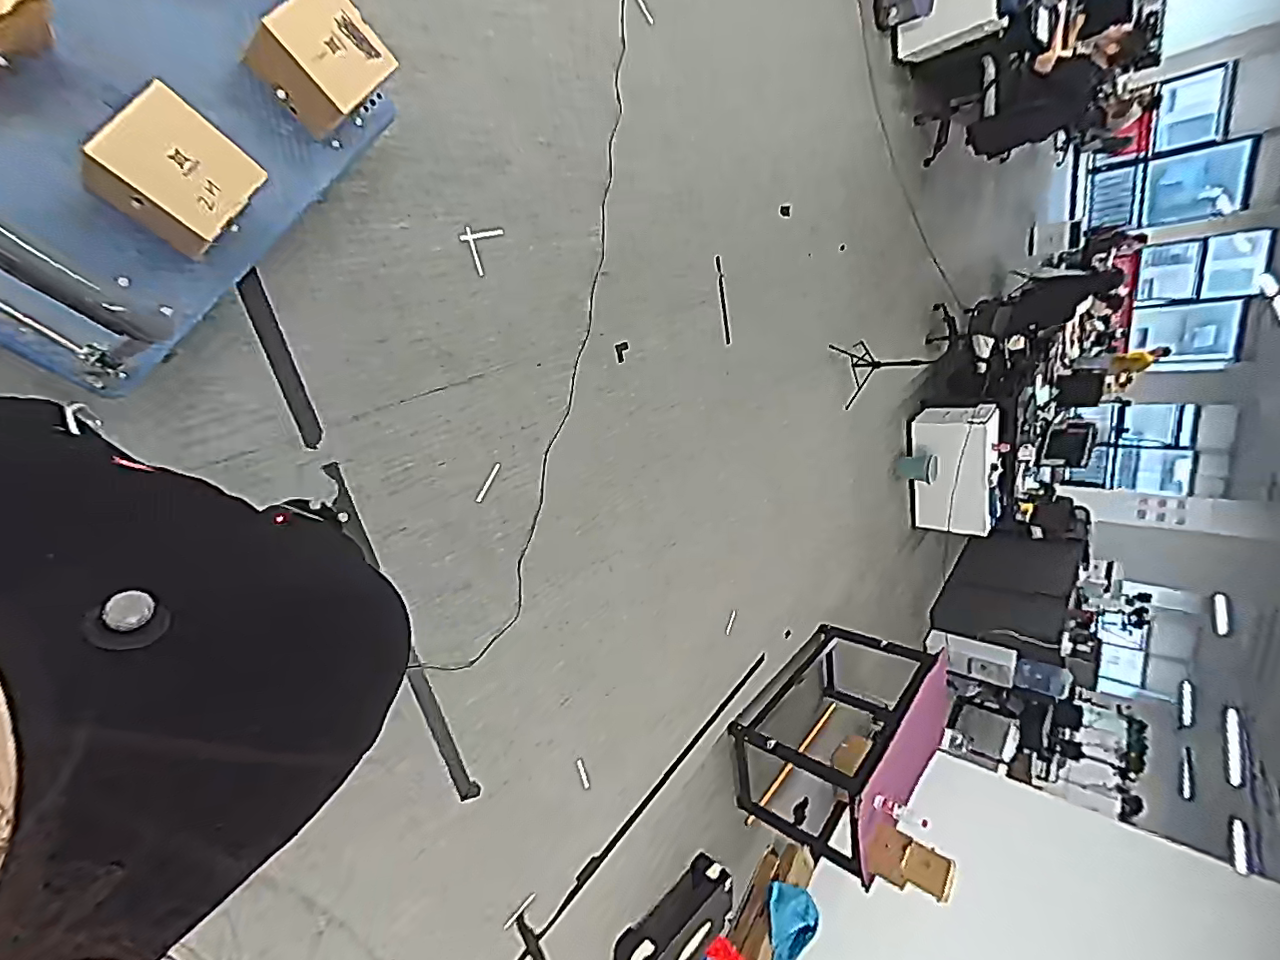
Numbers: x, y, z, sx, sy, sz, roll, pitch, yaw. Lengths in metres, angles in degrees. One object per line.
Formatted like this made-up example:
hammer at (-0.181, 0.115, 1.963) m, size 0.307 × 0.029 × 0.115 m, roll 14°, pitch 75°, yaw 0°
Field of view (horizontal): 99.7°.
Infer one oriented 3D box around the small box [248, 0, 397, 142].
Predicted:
small box at (-0.626, -0.811, 1.062) m, size 0.168 × 0.176 × 0.179 m, roll 47°, pitch 63°, yaw -40°

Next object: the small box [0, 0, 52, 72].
small box at (-0.960, -0.674, 0.723) m, size 0.179 × 0.176 × 0.168 m, roll 50°, pitch 60°, yaw -40°

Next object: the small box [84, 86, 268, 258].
small box at (-0.793, -0.510, 0.925) m, size 0.179 × 0.176 × 0.168 m, roll 42°, pitch 65°, yaw -42°
